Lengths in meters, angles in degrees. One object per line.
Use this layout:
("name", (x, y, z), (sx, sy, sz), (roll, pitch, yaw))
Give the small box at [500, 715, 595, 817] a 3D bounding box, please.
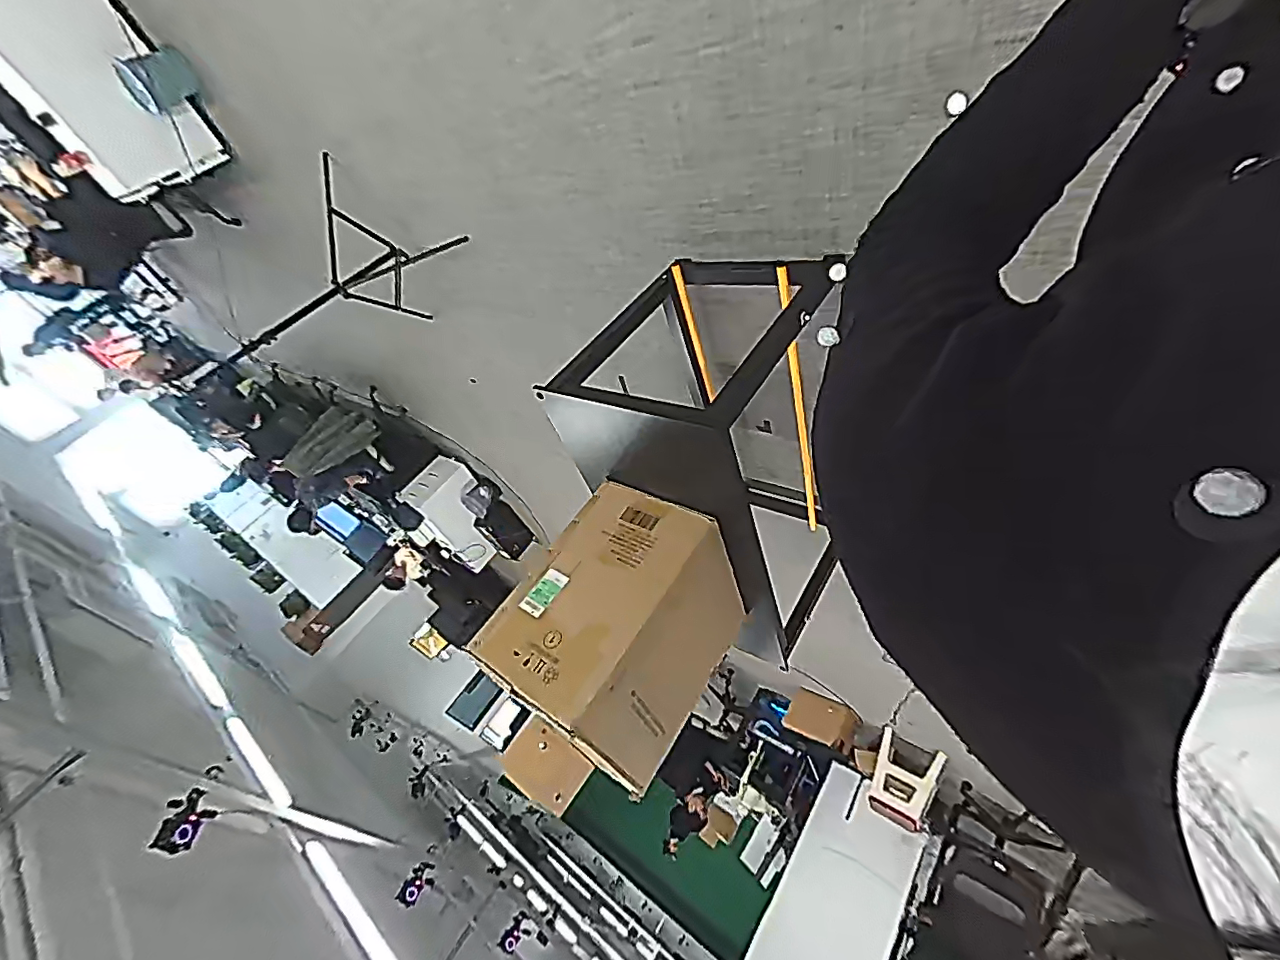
("small box", (-0.256, 0.811, 1.540), (0.168, 0.176, 0.179), (19, 147, 37))
